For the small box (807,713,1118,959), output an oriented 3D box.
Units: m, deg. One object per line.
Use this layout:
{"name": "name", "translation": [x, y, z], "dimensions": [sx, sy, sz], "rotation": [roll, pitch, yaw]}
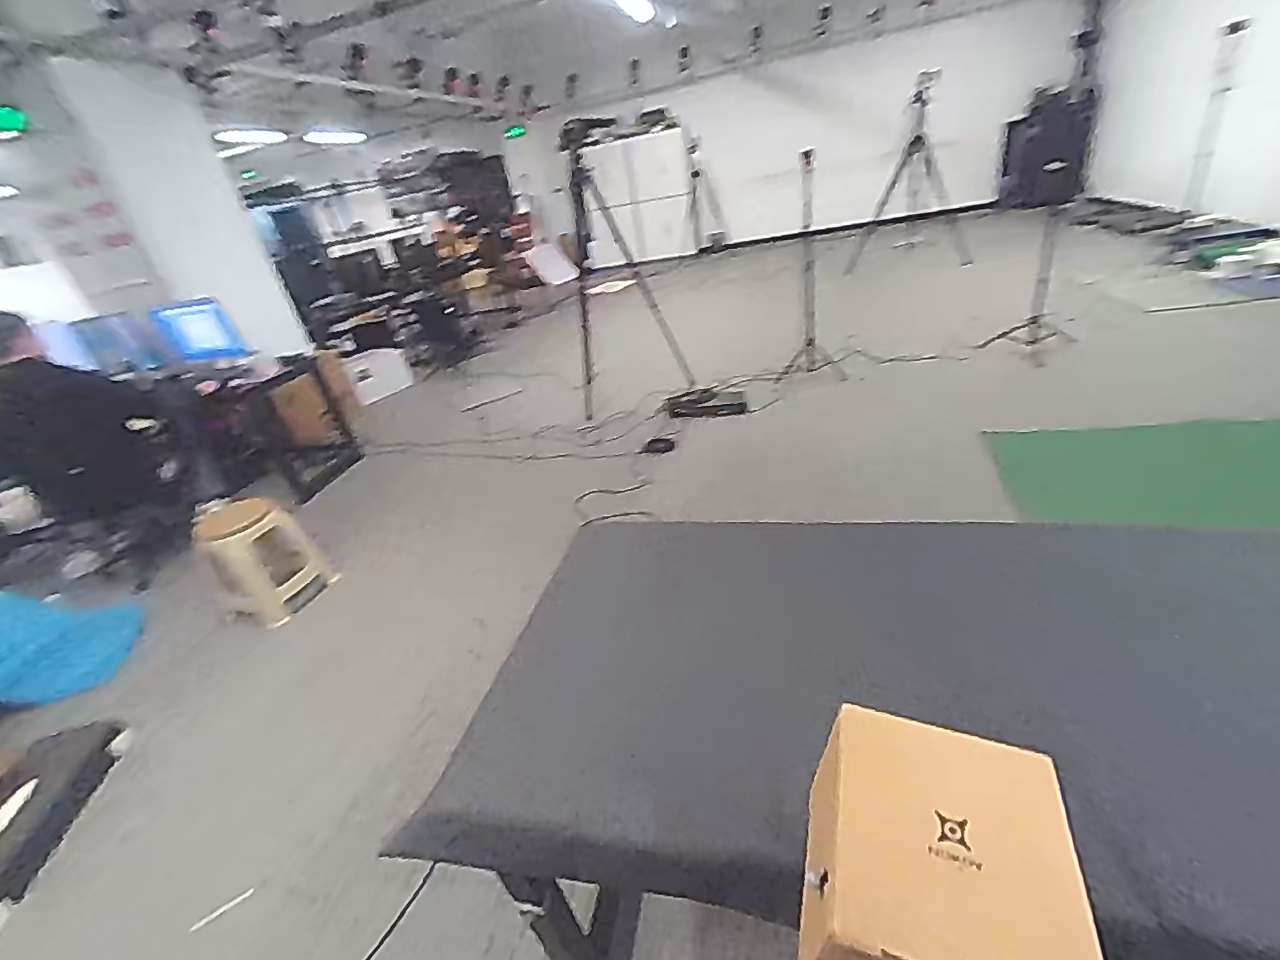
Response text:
{"name": "small box", "translation": [0.237, 0.332, 0.438], "dimensions": [0.168, 0.176, 0.179], "rotation": [10, 39, 16]}
